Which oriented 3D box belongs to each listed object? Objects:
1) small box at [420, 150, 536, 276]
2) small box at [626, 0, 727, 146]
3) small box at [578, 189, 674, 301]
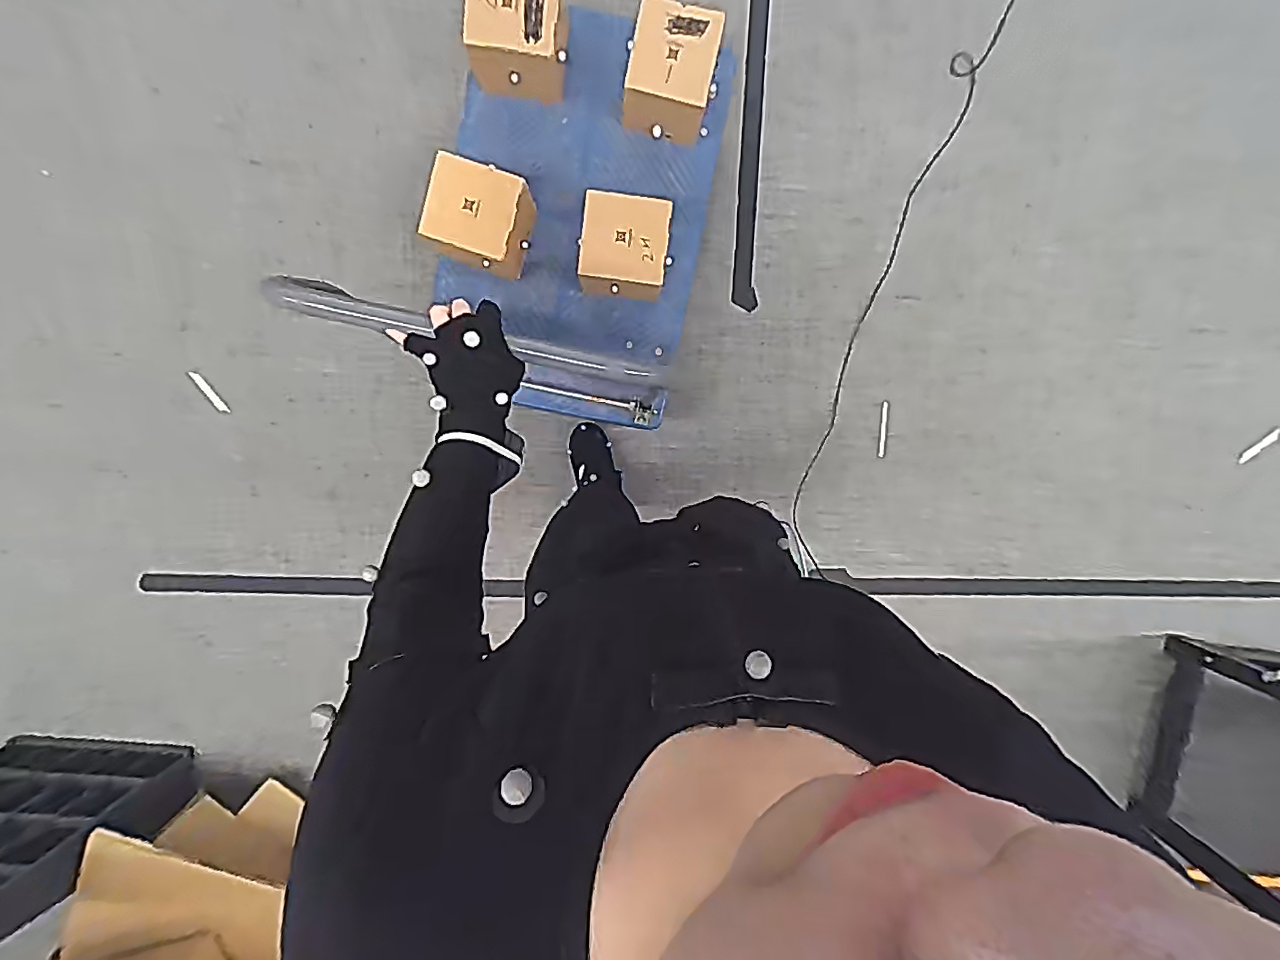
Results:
[{"bbox_3d":[-0.334,-0.551,1.144,0.179,0.176,0.168,16,96,-5],"label":"small box"},{"bbox_3d":[0.067,-0.839,1.121,0.168,0.176,0.179,13,97,-3],"label":"small box"},{"bbox_3d":[-0.031,-0.493,1.158,0.179,0.176,0.168,7,96,-2],"label":"small box"}]
